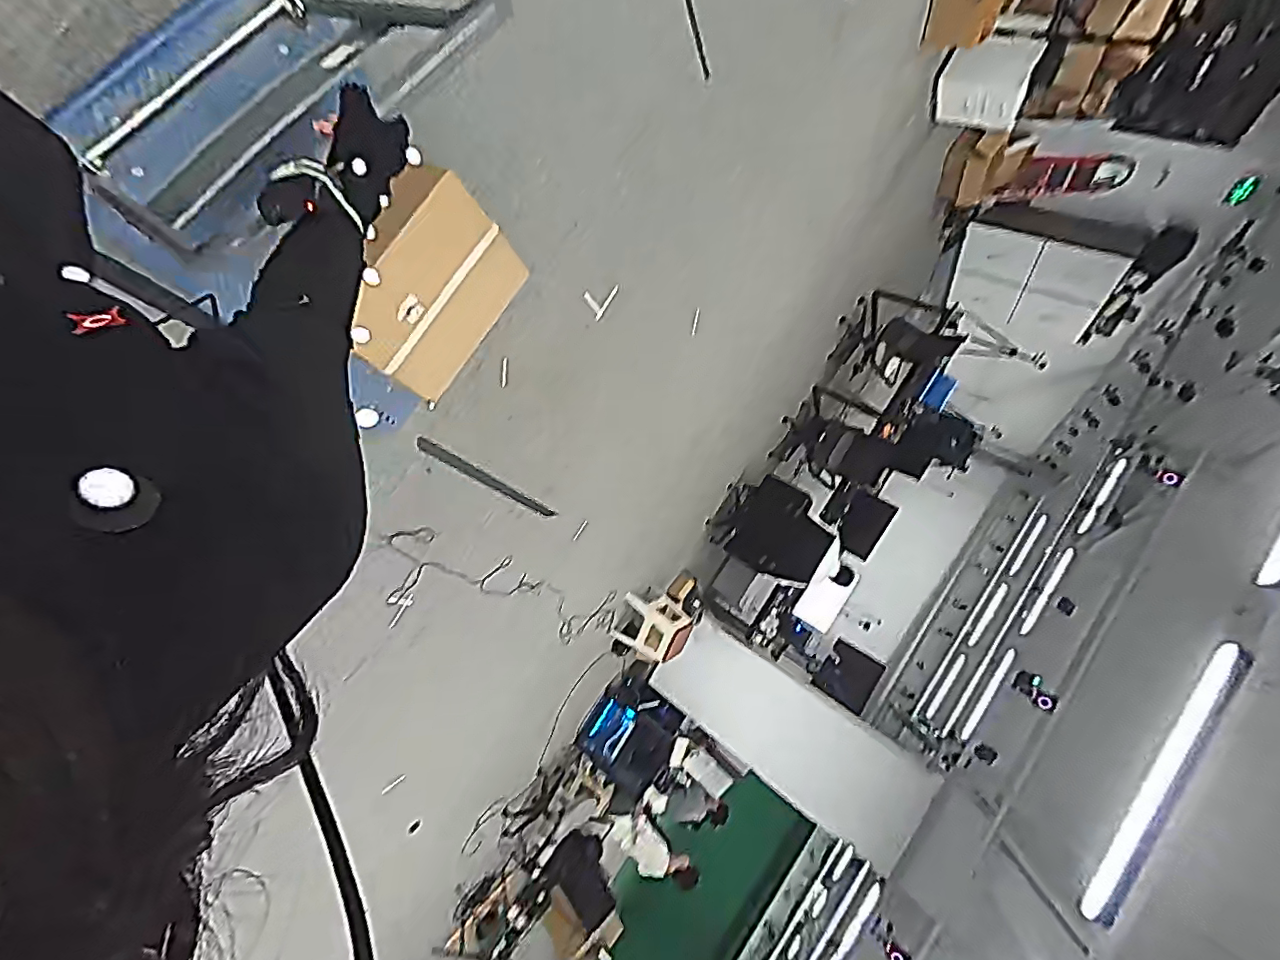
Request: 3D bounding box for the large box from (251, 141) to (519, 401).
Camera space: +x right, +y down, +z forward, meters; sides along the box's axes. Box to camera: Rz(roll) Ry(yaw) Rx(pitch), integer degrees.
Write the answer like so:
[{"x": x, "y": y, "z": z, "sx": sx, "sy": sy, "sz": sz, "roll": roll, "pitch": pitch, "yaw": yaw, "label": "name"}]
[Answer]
[{"x": -0.563, "y": -0.469, "z": 1.233, "sx": 0.408, "sy": 0.320, "sz": 0.320, "roll": -55, "pitch": 152, "yaw": -6, "label": "large box"}]
